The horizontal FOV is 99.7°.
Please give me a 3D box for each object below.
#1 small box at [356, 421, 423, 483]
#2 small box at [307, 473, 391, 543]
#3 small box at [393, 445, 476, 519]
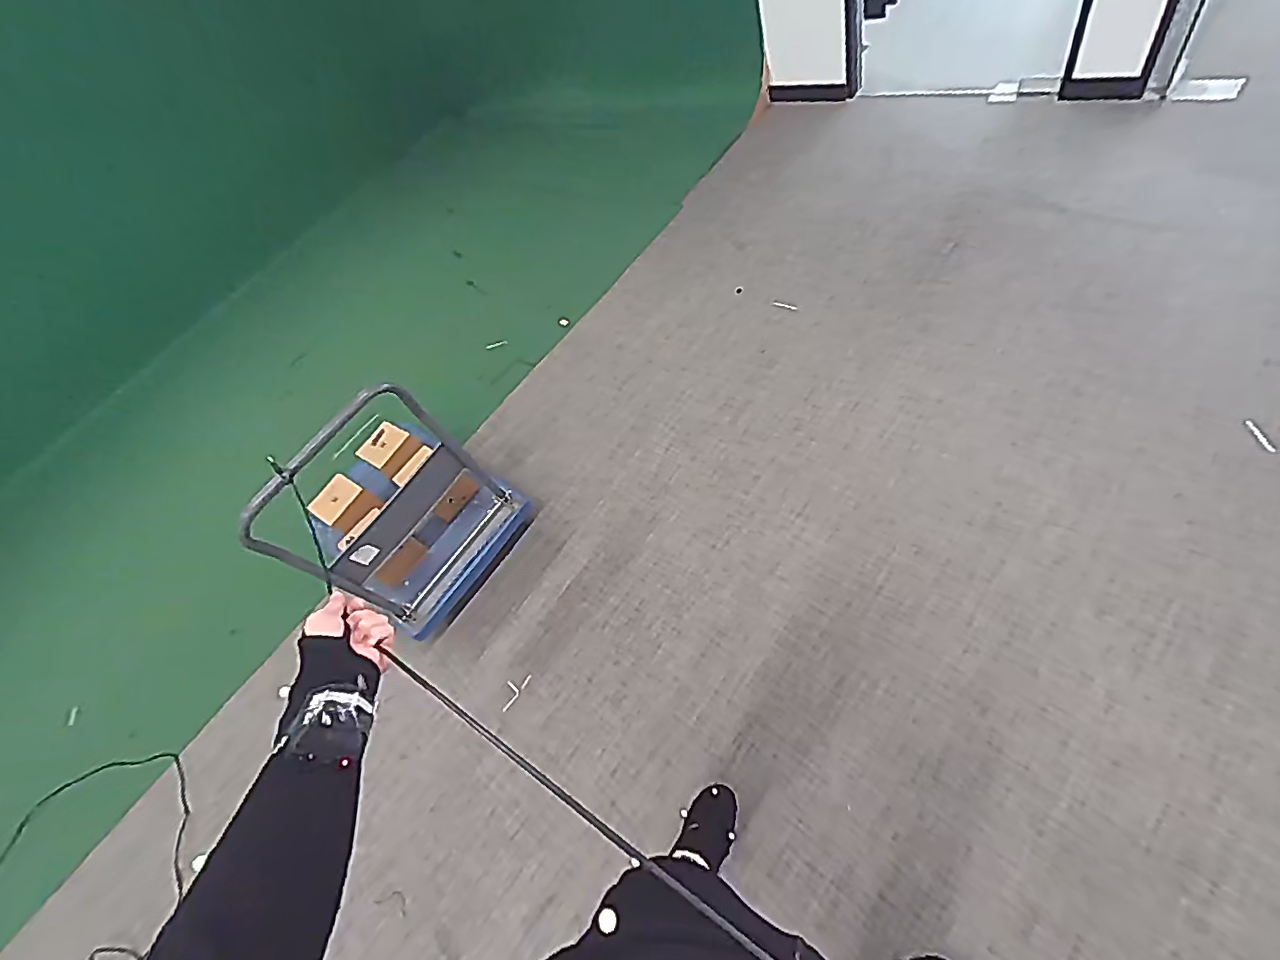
[{"bbox_3d":[-0.921,-0.092,2.049,0.179,0.176,0.168,24,70,31],"label":"small box"},{"bbox_3d":[-1.055,0.107,1.973,0.179,0.176,0.168,23,69,32],"label":"small box"},{"bbox_3d":[-0.719,0.013,1.902,0.179,0.176,0.168,29,73,33],"label":"small box"}]
